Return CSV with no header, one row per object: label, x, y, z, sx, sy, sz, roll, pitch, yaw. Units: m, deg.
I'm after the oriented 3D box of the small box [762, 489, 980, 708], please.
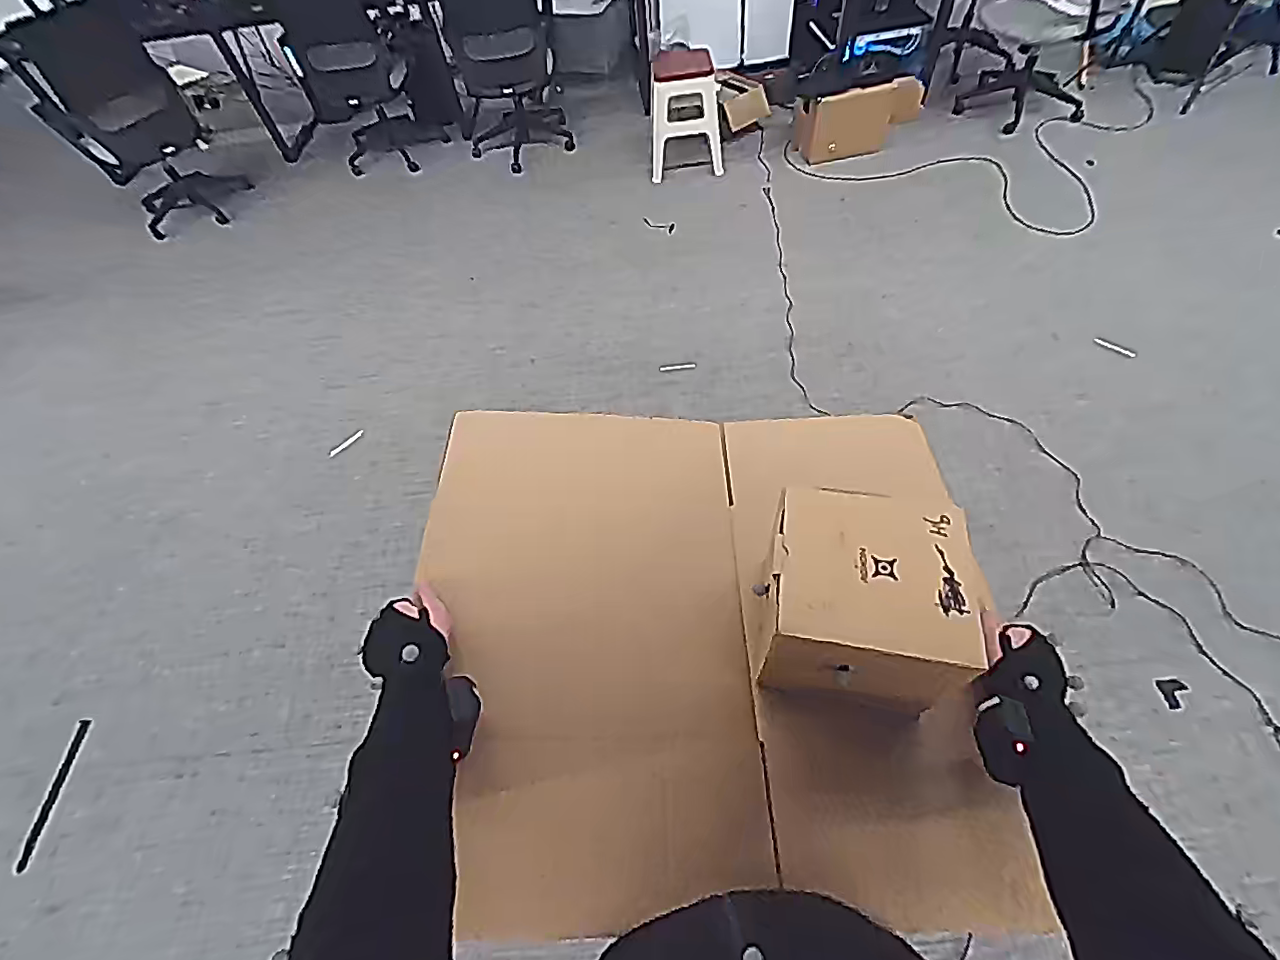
small box,0.228,0.130,0.581,0.179,0.176,0.168,6,56,11
